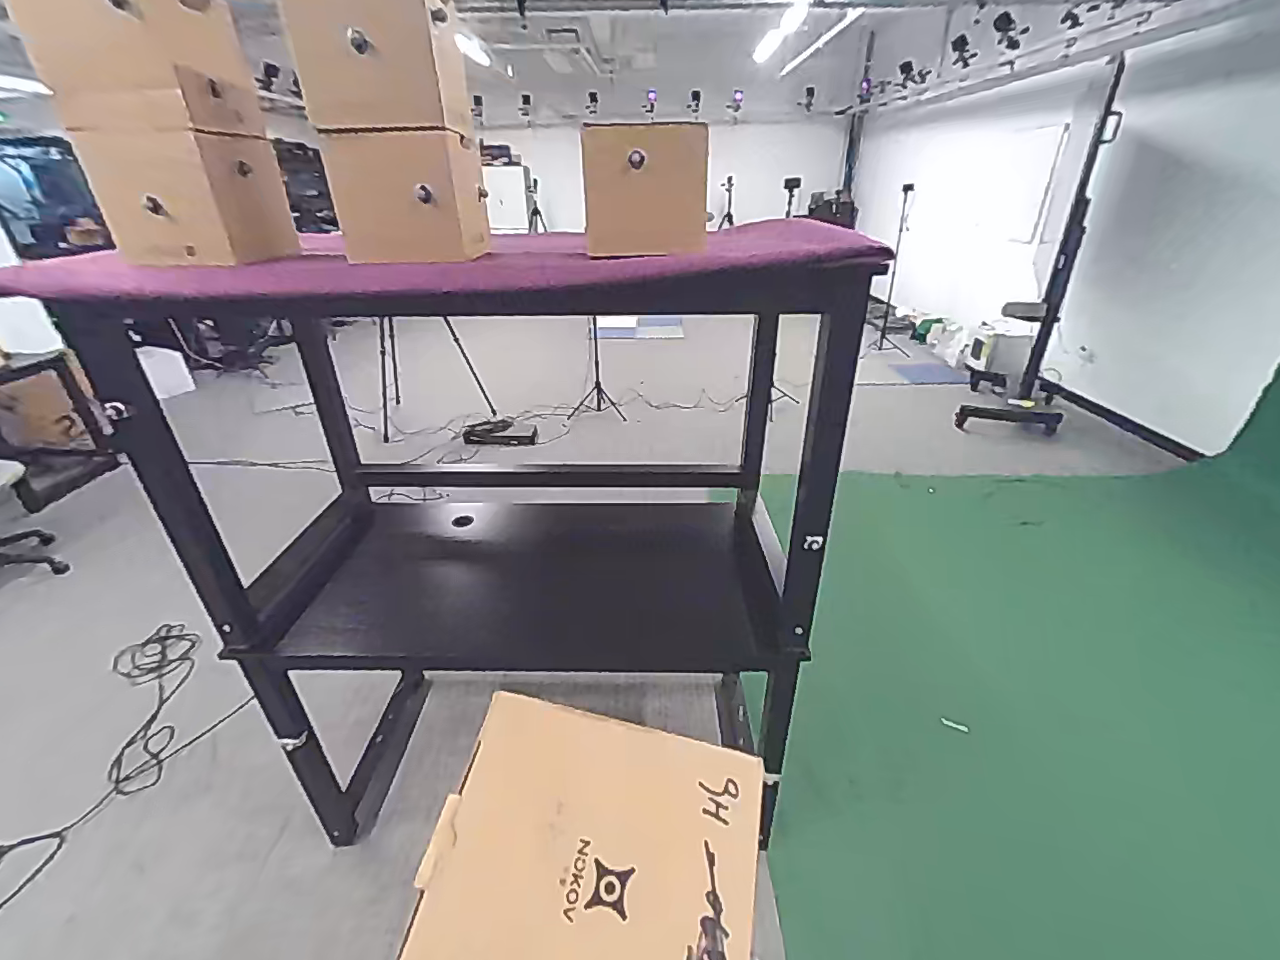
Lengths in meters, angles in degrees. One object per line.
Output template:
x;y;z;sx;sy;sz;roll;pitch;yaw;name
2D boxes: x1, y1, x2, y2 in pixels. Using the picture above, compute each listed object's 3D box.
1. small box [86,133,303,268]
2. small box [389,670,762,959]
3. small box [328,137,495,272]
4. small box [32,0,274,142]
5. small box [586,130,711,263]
-0.653;-0.422;0.825;0.168;0.176;0.179;1;28;-1;small box
-0.032;0.254;0.364;0.179;0.176;0.168;14;53;3;small box
-0.332;-0.421;0.830;0.179;0.176;0.168;-1;27;0;small box
-0.658;-0.565;0.747;0.179;0.176;0.168;0;29;-3;small box
0.017;-0.433;0.845;0.179;0.176;0.168;1;26;2;small box
